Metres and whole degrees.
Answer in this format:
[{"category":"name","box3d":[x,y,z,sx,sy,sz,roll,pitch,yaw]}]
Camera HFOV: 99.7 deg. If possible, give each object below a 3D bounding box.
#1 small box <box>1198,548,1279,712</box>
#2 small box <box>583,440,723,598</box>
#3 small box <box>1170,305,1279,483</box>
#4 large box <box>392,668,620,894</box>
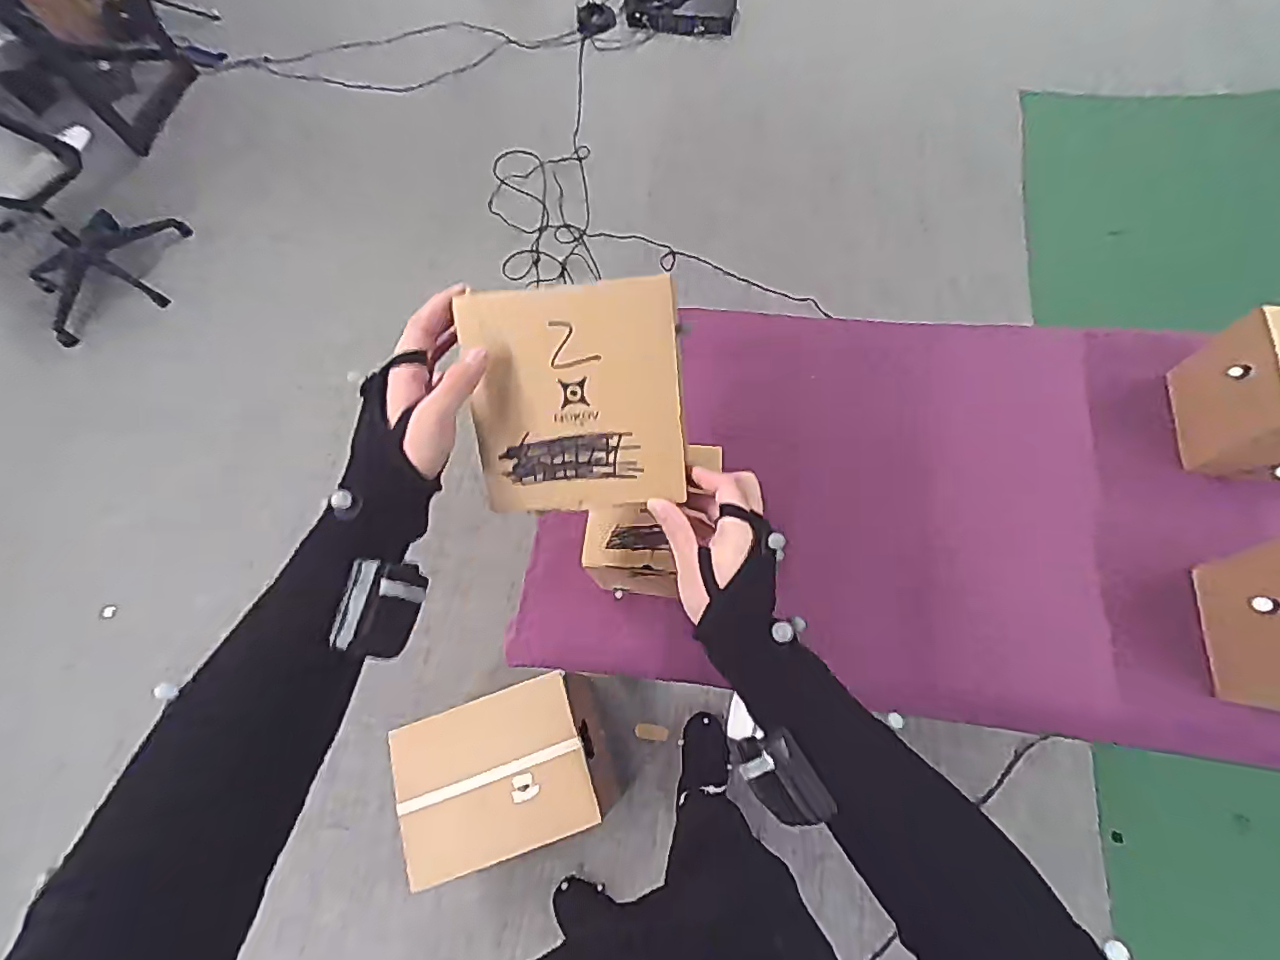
[{"category":"small box","box3d":[0.816,0.177,0.628,0.168,0.176,0.179,7,66,11]},{"category":"small box","box3d":[0.027,0.062,0.761,0.168,0.176,0.179,4,67,7]},{"category":"small box","box3d":[0.883,-0.110,0.737,0.168,0.176,0.179,7,70,11]},{"category":"large box","box3d":[-0.294,0.674,1.264,0.408,0.320,0.320,-19,68,-3]}]
